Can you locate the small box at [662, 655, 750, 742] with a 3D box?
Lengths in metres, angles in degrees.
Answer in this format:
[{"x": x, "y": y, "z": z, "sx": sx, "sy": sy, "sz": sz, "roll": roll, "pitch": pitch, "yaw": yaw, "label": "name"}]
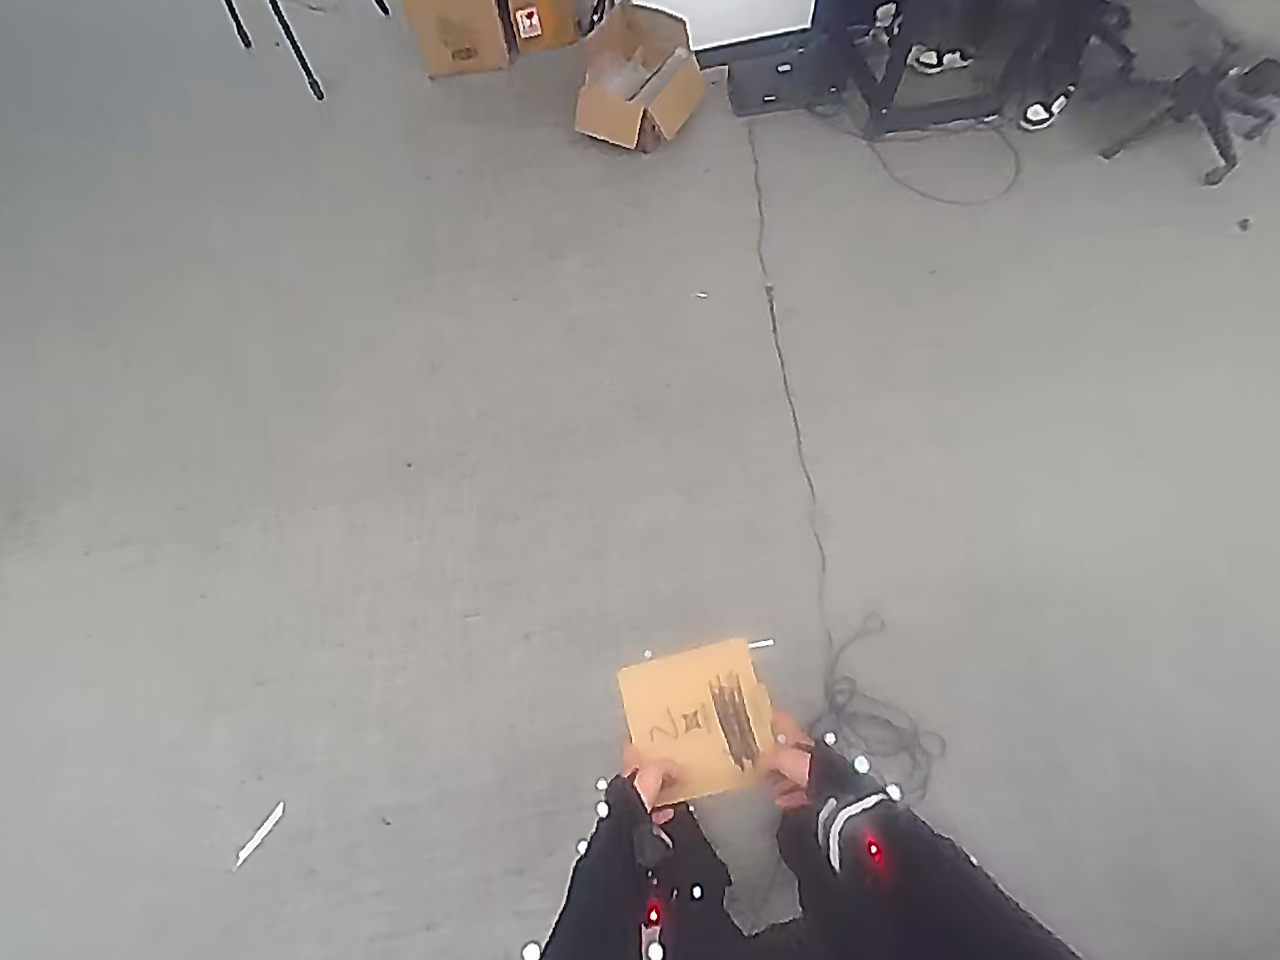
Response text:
[{"x": 0.160, "y": 0.544, "z": 1.341, "sx": 0.179, "sy": 0.176, "sz": 0.168, "roll": -13, "pitch": 67, "yaw": -2, "label": "small box"}]
